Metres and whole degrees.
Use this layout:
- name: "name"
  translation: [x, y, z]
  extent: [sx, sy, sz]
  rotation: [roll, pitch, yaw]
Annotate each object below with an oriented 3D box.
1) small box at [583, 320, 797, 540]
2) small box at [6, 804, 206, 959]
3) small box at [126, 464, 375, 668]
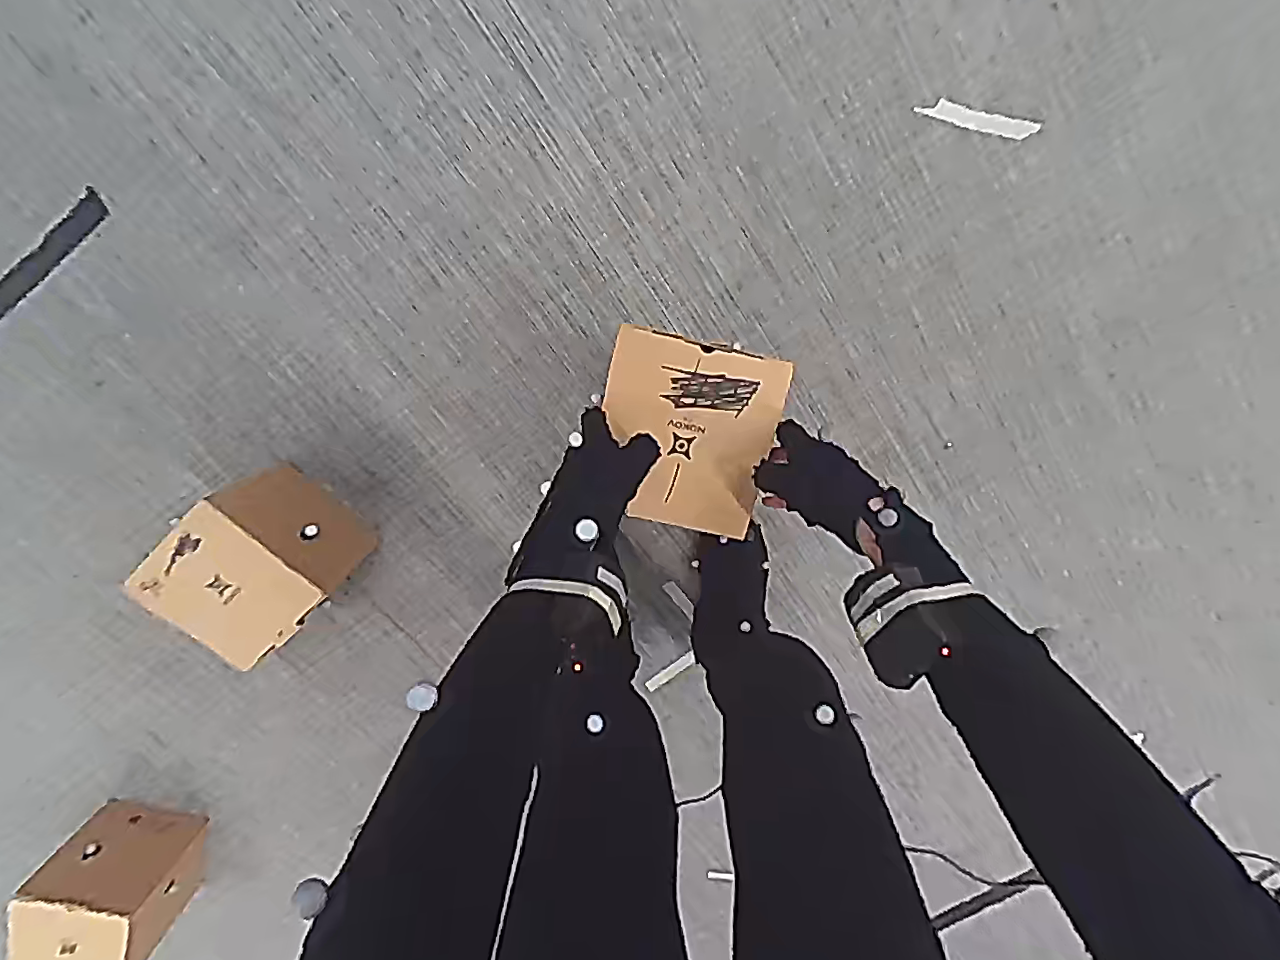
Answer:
- name: "small box"
  translation: [0.042, -0.060, 0.573]
  extent: [0.168, 0.176, 0.179]
  rotation: [12, 104, -3]
- name: "small box"
  translation: [-0.853, 0.671, 0.881]
  extent: [0.168, 0.176, 0.179]
  rotation: [17, 106, -7]
- name: "small box"
  translation: [-0.499, 0.104, 0.727]
  extent: [0.168, 0.176, 0.179]
  rotation: [-42, 106, 9]
